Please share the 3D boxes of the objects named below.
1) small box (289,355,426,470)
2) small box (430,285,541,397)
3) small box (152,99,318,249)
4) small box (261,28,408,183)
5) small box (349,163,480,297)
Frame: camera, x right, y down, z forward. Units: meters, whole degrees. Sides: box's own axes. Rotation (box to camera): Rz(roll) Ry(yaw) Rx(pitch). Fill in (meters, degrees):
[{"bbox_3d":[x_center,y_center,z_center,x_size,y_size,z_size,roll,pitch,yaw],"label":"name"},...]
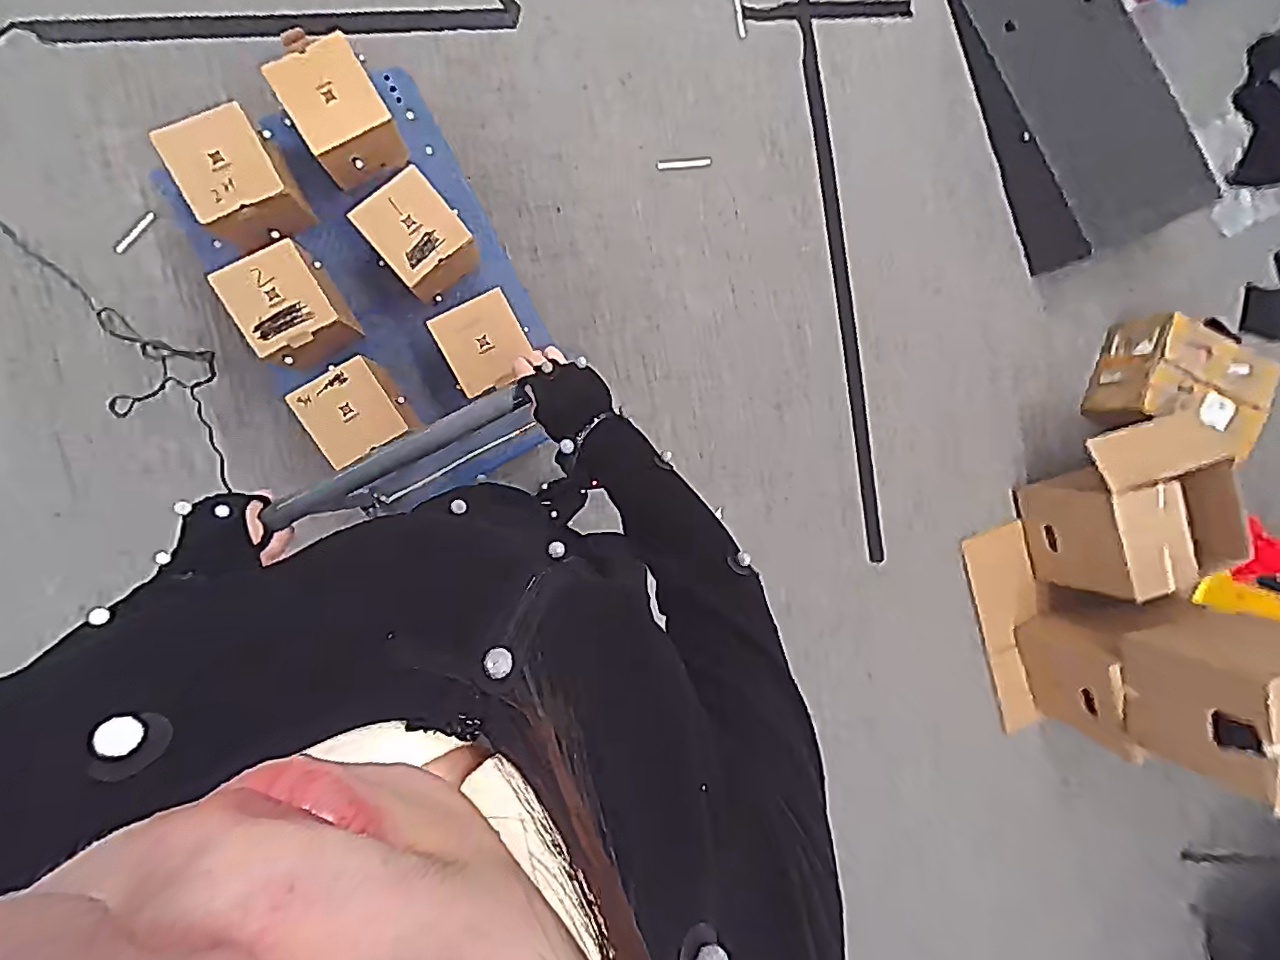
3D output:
[{"bbox_3d":[-0.581,-0.141,1.143,0.168,0.176,0.179,-33,100,-7],"label":"small box"},{"bbox_3d":[-0.326,-0.291,1.180,0.168,0.176,0.179,-29,98,-7],"label":"small box"},{"bbox_3d":[-0.783,-0.591,1.068,0.168,0.176,0.179,-28,100,-7],"label":"small box"},{"bbox_3d":[-0.600,-0.737,1.092,0.168,0.176,0.179,-32,99,-6],"label":"small box"},{"bbox_3d":[-0.458,-0.508,1.136,0.168,0.176,0.179,-41,100,-5],"label":"small box"}]
